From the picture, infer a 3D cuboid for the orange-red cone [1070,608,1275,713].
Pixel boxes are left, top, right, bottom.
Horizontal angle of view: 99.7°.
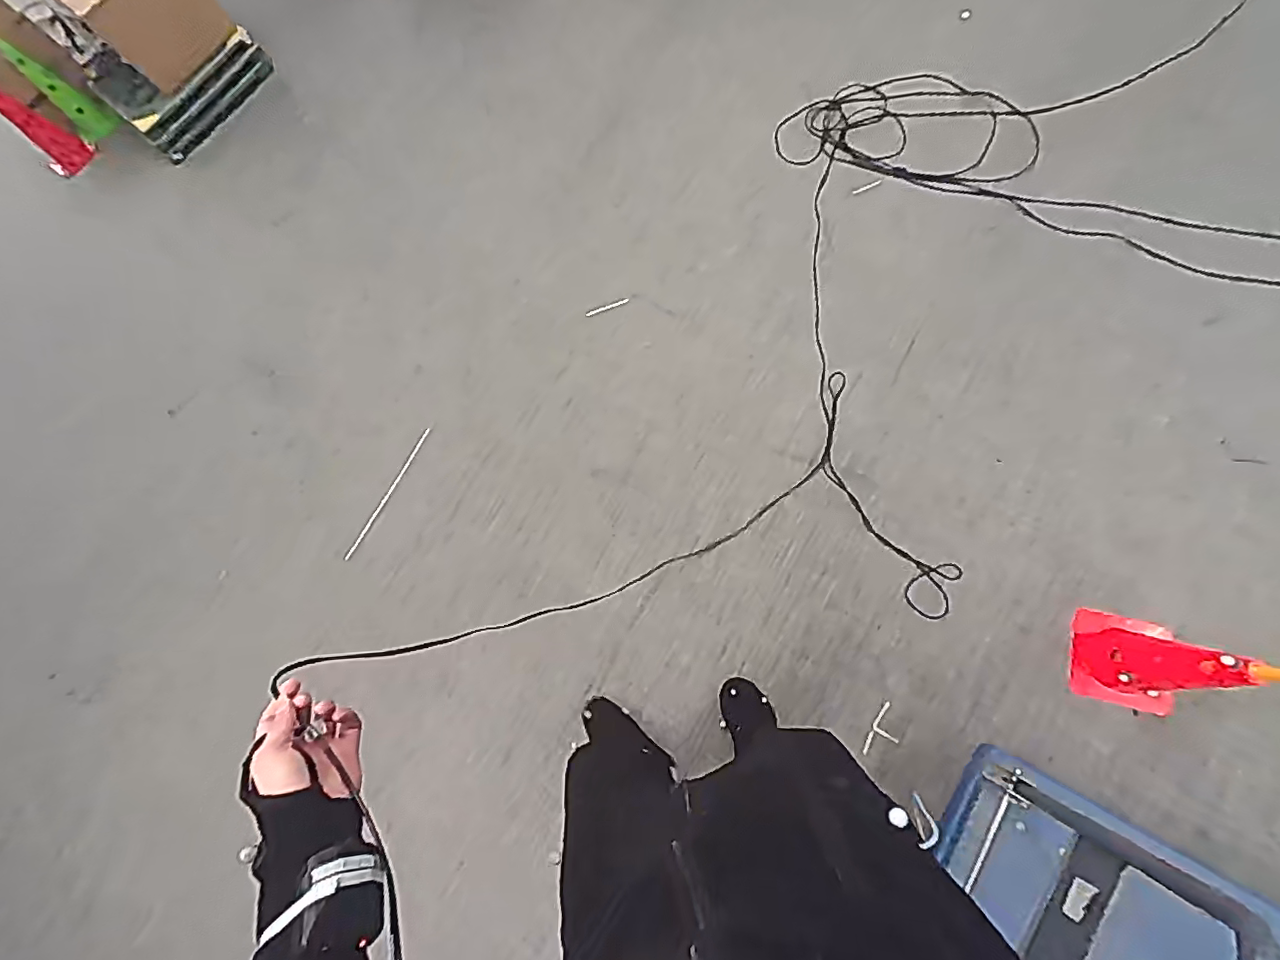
[{"bbox_3d":[1.079,0.367,1.080,0.198,0.360,0.199,13,77,13],"label":"orange-red cone"}]
